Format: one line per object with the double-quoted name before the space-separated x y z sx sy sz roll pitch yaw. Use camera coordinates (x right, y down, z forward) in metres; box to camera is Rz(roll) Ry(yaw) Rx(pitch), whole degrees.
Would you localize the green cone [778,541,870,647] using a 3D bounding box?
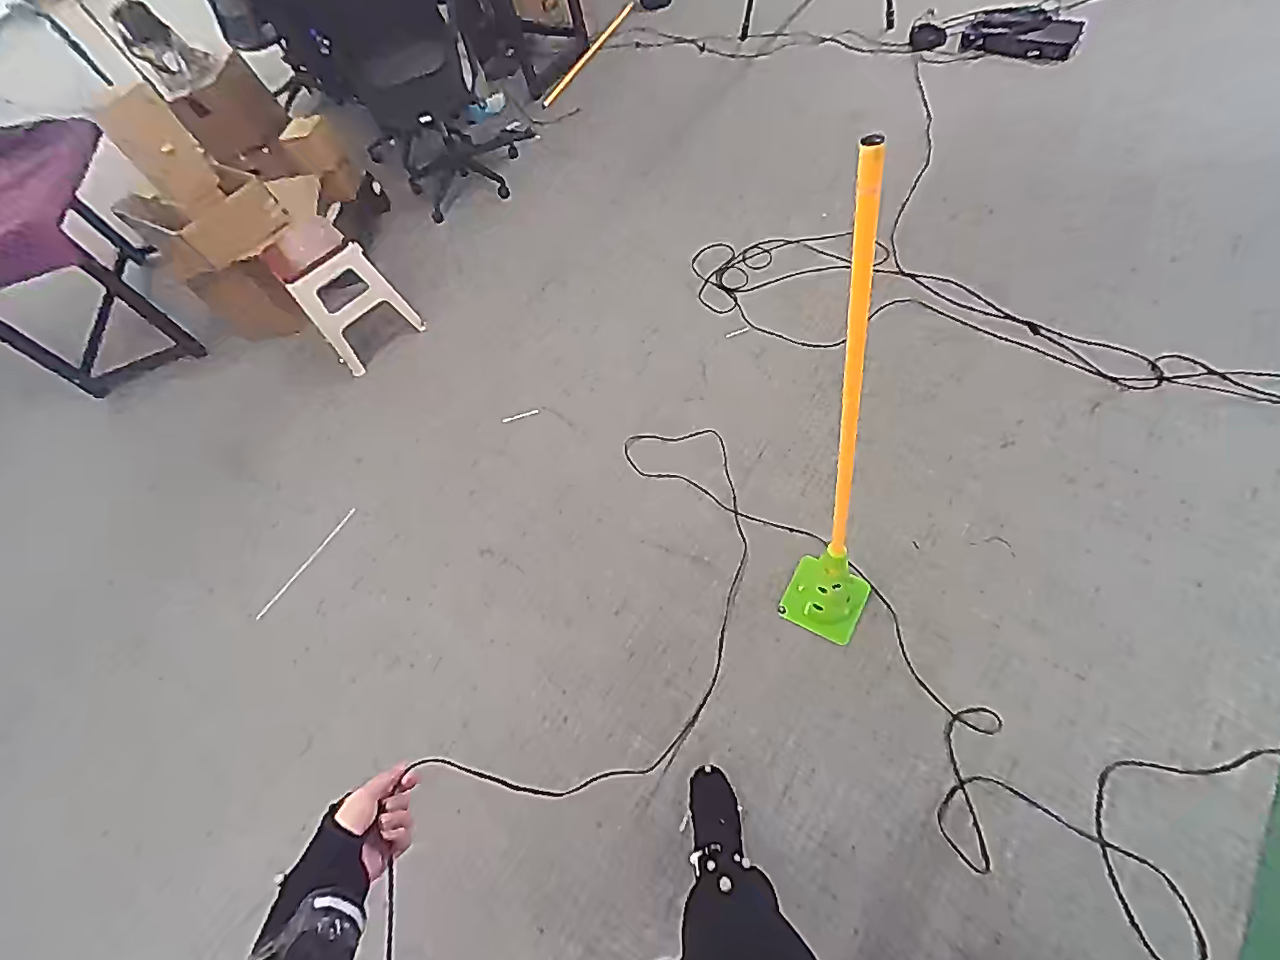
"green cone" 0.476 0.247 1.342 0.200 0.368 0.202 23 67 23
